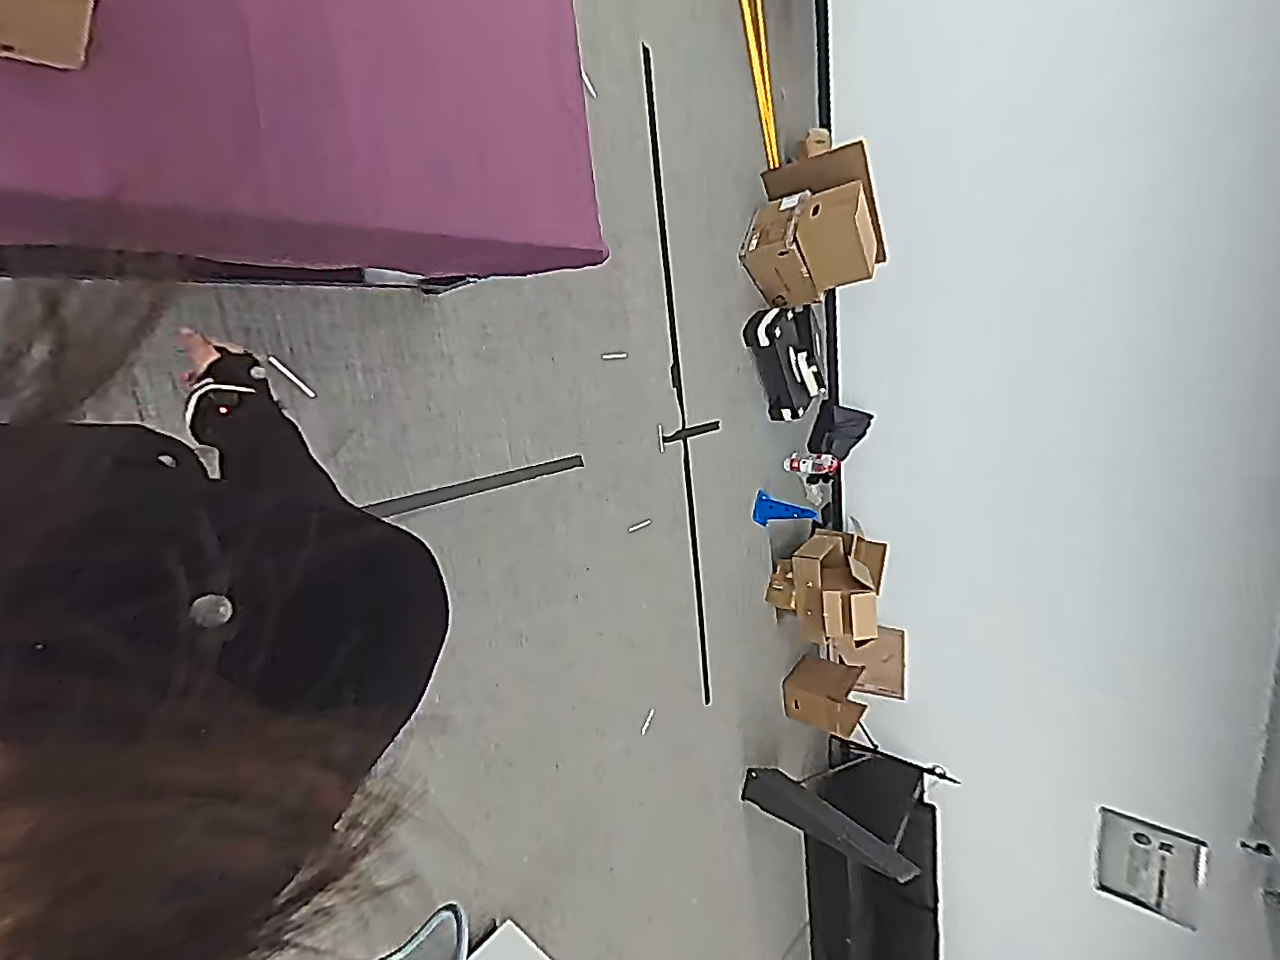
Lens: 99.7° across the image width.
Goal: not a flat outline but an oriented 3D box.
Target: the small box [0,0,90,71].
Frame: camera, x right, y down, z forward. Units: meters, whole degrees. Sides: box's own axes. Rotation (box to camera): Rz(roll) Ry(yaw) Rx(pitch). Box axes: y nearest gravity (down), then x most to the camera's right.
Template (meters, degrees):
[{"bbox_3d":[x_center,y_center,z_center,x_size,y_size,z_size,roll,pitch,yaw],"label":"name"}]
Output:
[{"bbox_3d":[-0.664,-0.537,0.506,0.168,0.176,0.179,-22,109,-46],"label":"small box"}]
